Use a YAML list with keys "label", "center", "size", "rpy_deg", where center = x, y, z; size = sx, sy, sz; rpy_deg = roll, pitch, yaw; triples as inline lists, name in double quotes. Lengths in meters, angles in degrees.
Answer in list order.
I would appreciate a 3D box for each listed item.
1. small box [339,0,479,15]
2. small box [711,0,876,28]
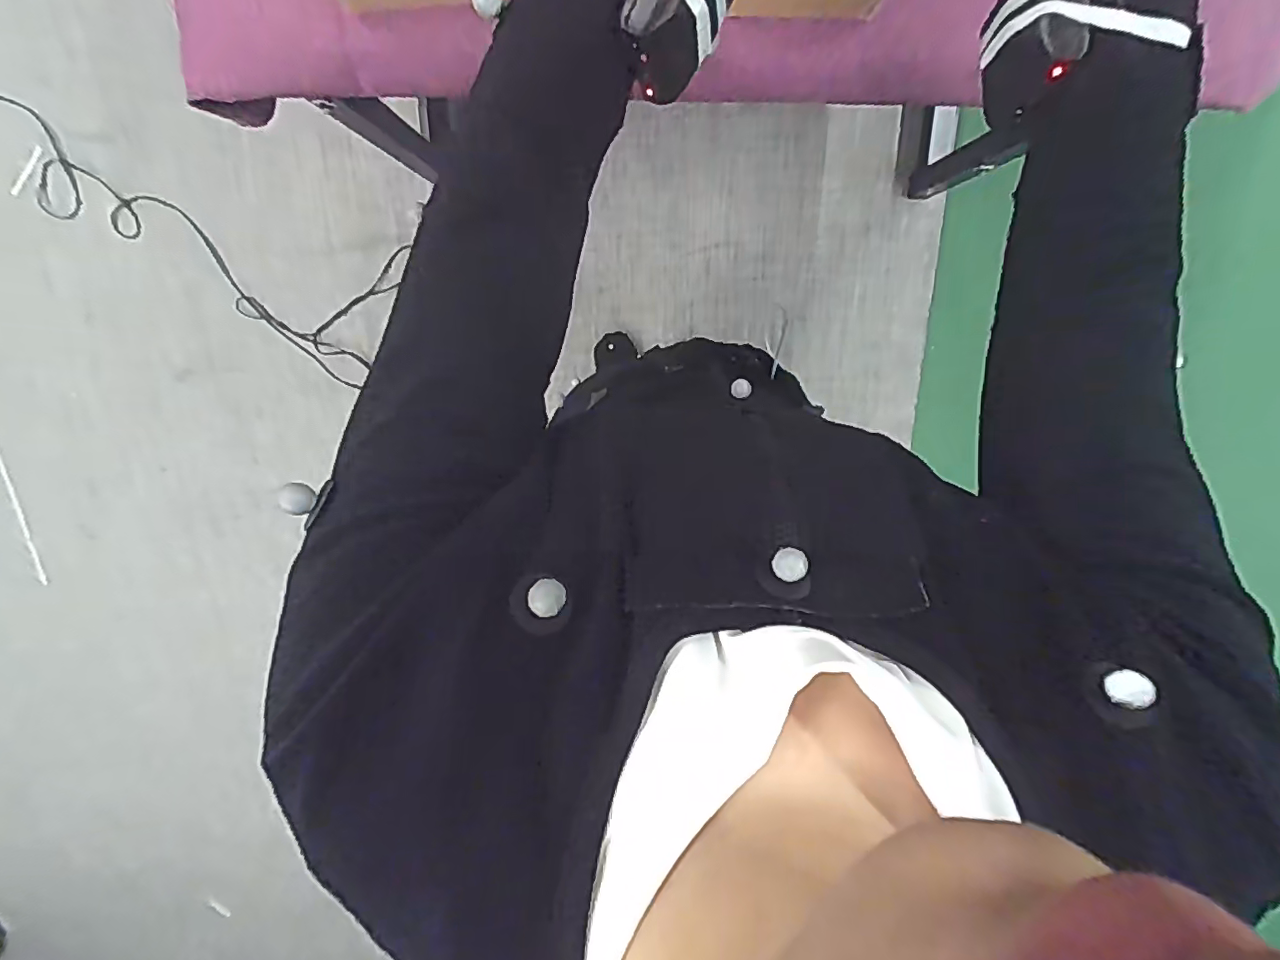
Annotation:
- label: "small box"
  center: [-0.242, -0.575, 0.498]
  size: [0.179, 0.176, 0.168]
  rpy_deg: [-5, 105, 1]
- label: "small box"
  center: [0.169, -0.566, 0.508]
  size: [0.179, 0.176, 0.168]
  rpy_deg: [3, 105, 0]
